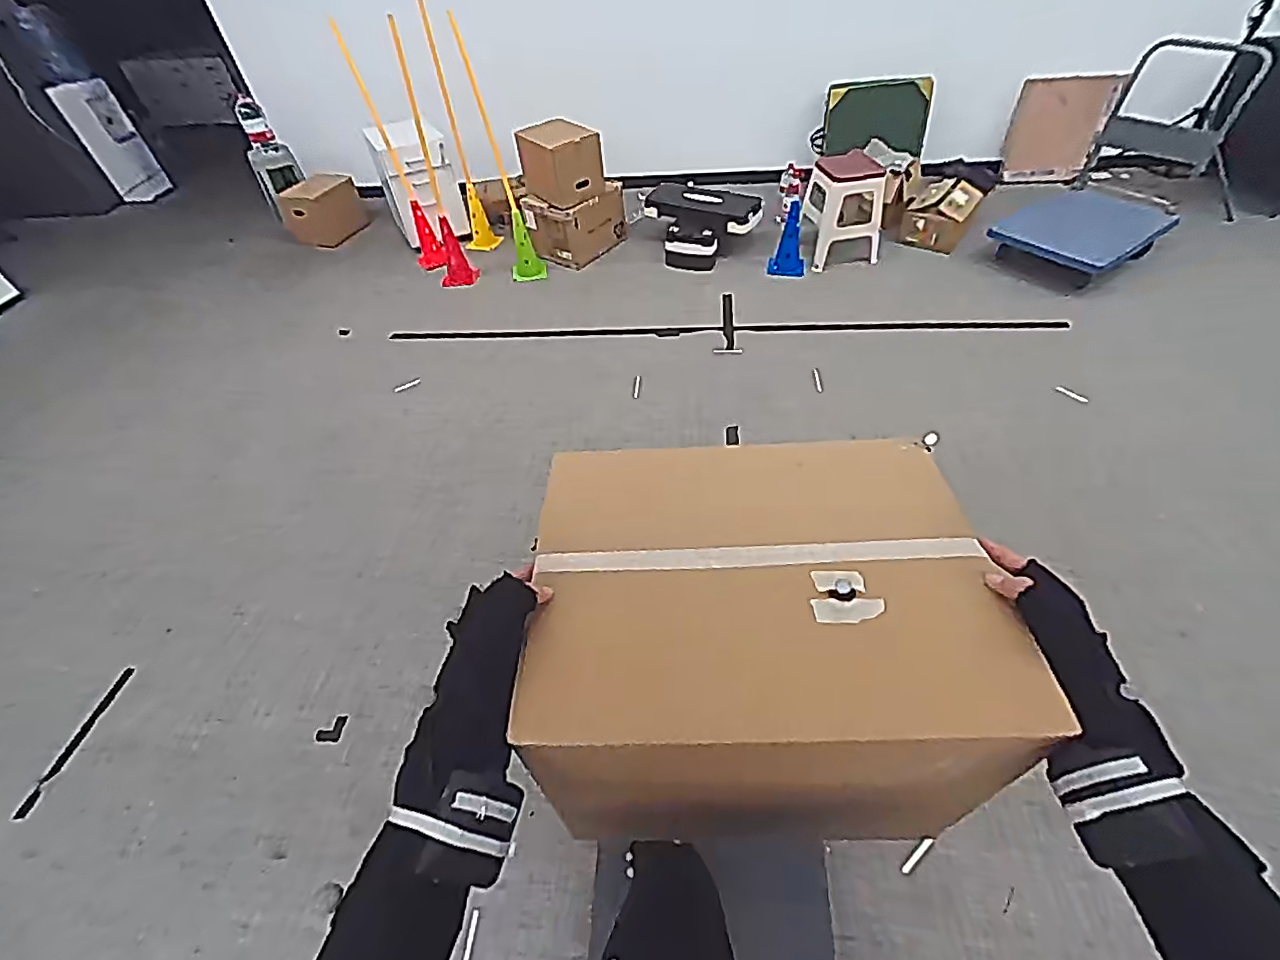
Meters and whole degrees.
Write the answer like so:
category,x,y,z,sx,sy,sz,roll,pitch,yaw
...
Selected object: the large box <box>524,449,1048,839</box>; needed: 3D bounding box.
category,x,y,z,sx,sy,sz,roll,pitch,yaw
large box,0.113,0.187,0.614,0.408,0.320,0.320,-2,45,3
